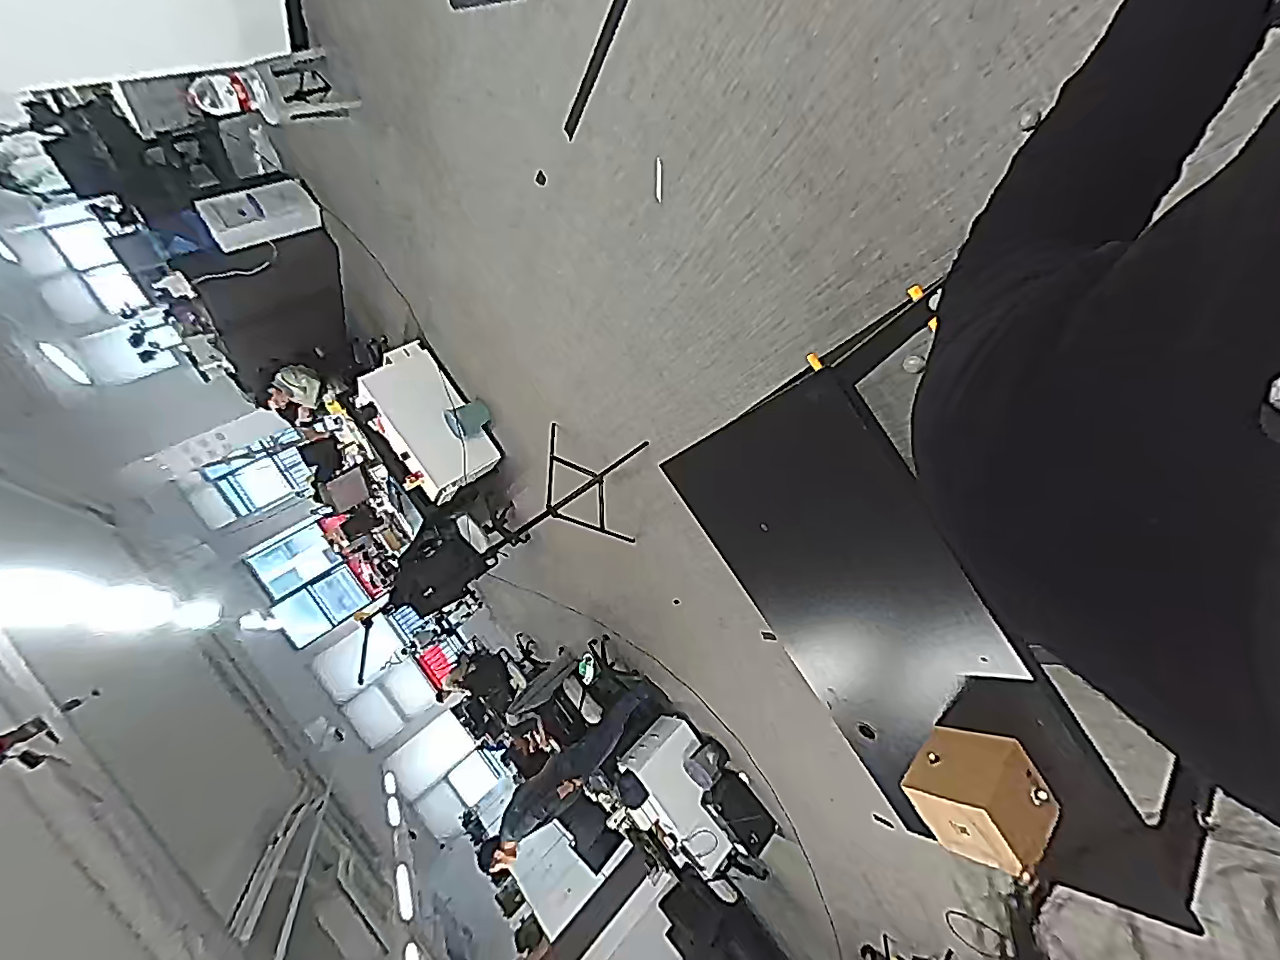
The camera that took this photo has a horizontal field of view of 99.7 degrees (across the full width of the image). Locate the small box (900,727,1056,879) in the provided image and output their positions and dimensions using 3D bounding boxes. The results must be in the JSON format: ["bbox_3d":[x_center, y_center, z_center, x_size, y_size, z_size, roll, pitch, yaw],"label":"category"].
[{"bbox_3d":[0.659,0.614,1.057,0.168,0.176,0.179,55,150,-3],"label":"small box"}]
